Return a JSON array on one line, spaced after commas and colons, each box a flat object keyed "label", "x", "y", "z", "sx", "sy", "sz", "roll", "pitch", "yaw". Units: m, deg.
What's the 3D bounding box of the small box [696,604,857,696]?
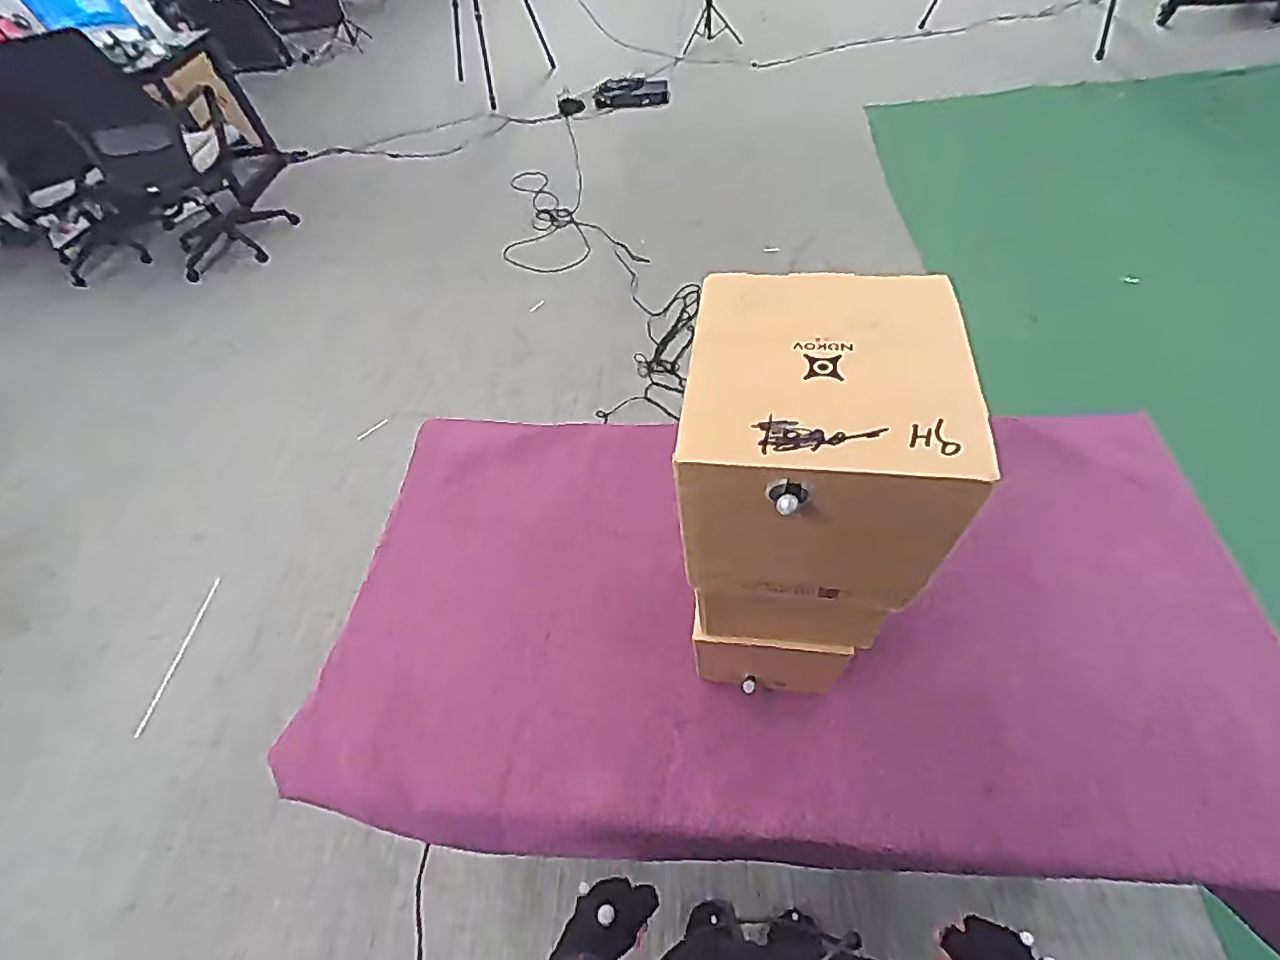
[{"label": "small box", "x": 0.161, "y": 0.147, "z": 0.667, "sx": 0.168, "sy": 0.176, "sz": 0.179, "roll": 3, "pitch": 56, "yaw": 12}]

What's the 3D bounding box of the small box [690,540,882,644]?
[{"label": "small box", "x": 0.148, "y": 0.052, "z": 0.536, "sx": 0.179, "sy": 0.176, "sz": 0.168, "roll": 2, "pitch": 55, "yaw": 10}]

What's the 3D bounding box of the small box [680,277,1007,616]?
[{"label": "small box", "x": 0.125, "y": -0.024, "z": 0.391, "sx": 0.168, "sy": 0.176, "sz": 0.179, "roll": 4, "pitch": 54, "yaw": 12}]
